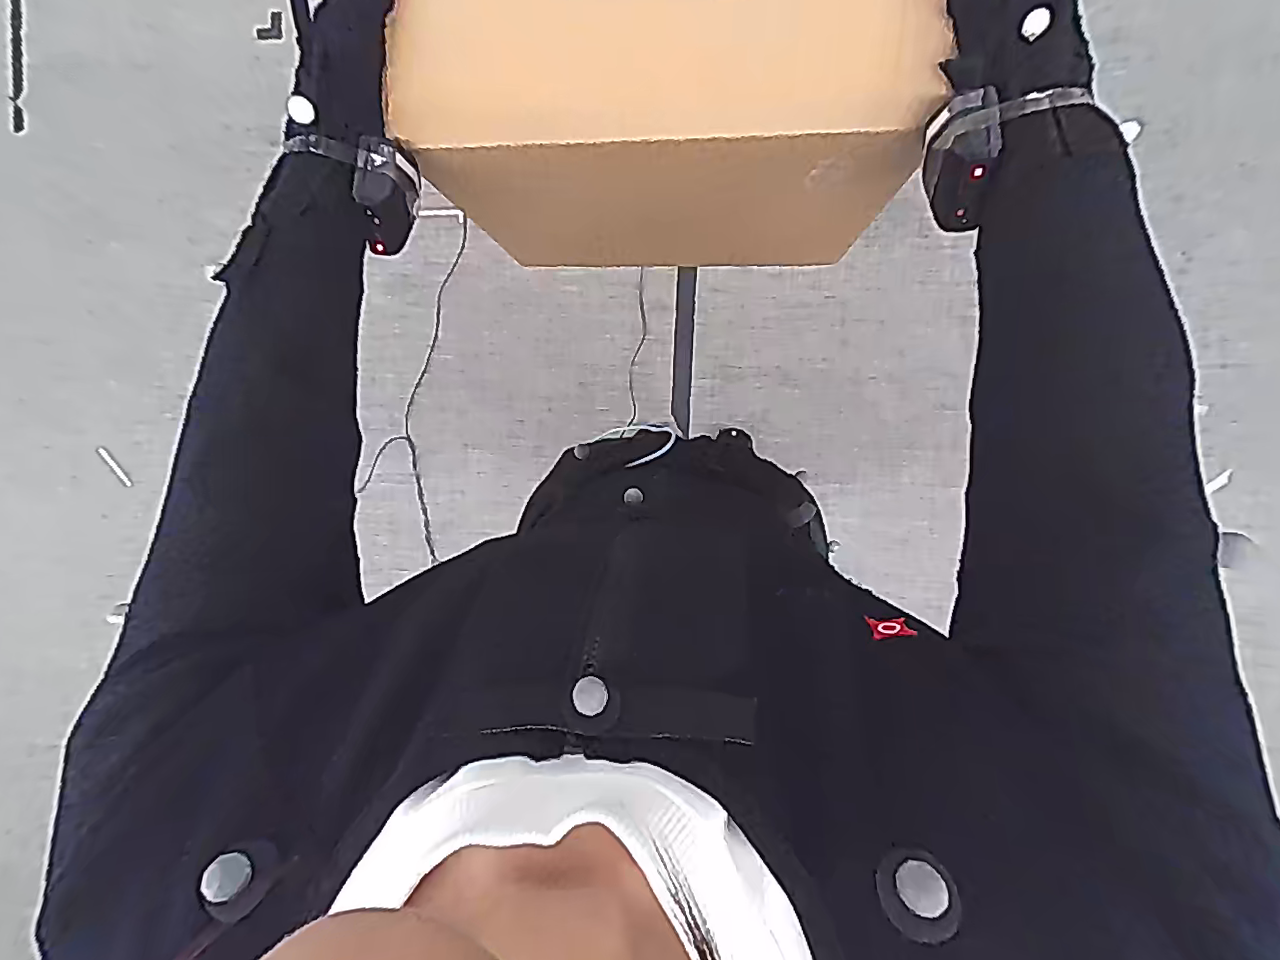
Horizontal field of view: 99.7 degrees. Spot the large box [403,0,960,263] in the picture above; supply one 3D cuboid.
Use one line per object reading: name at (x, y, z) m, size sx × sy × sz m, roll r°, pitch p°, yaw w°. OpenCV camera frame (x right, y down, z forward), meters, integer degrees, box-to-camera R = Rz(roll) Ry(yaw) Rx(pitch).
large box at (0.034, -0.419, 0.526) m, size 0.408 × 0.320 × 0.320 m, roll 1°, pitch 96°, yaw 5°
